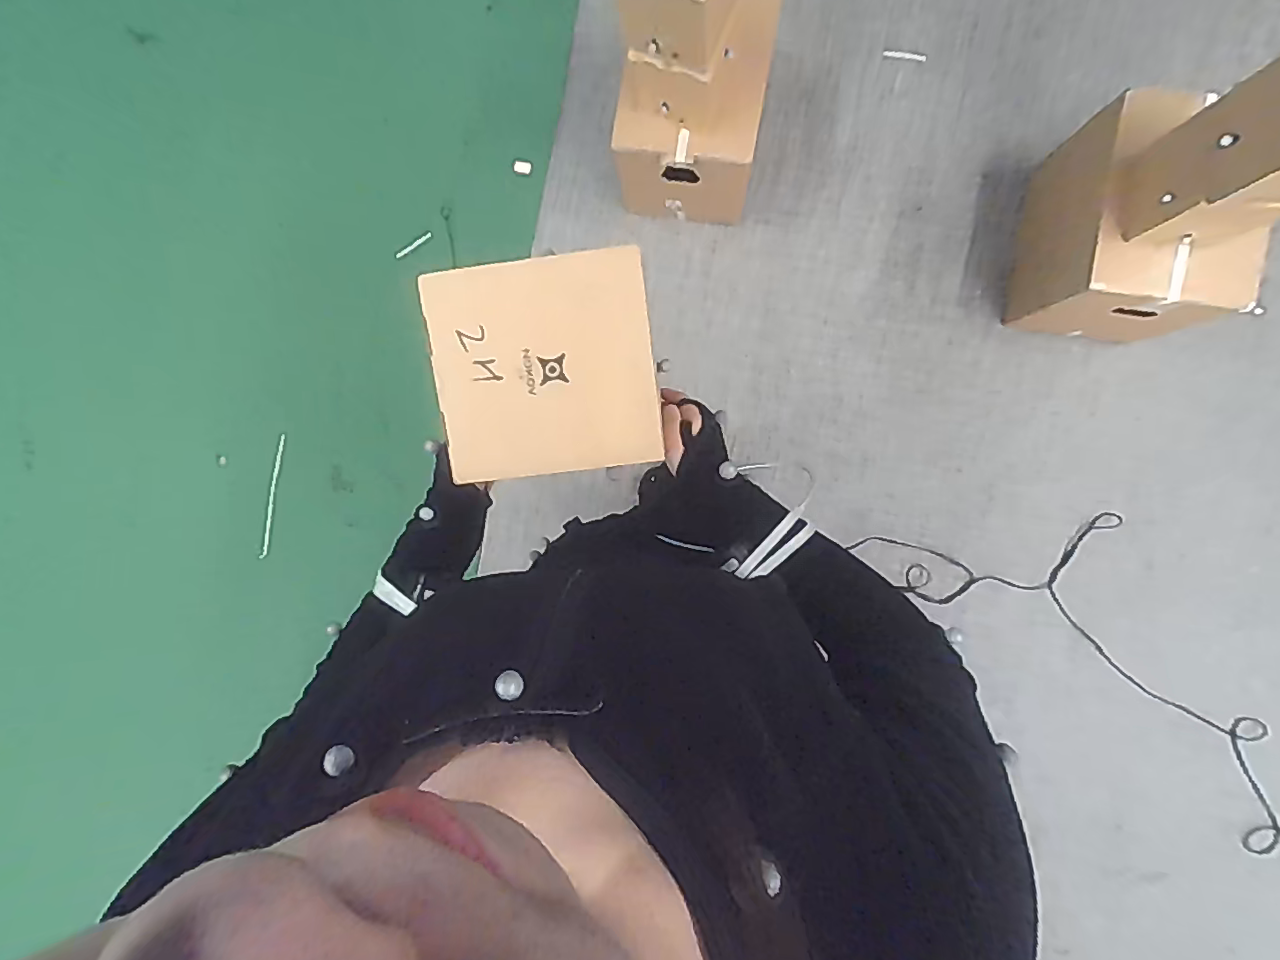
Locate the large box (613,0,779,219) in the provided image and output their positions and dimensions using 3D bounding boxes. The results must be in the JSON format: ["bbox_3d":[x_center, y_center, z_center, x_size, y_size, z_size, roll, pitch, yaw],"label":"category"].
[{"bbox_3d":[0.136,-0.902,1.299,0.320,0.320,0.408,10,93,5],"label":"large box"}]

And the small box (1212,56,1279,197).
[{"bbox_3d":[1.033,-0.547,0.818,0.168,0.176,0.179,1,93,7],"label":"small box"}]

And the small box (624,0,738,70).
[{"bbox_3d":[0.074,-0.845,0.899,0.168,0.176,0.179,24,96,6],"label":"small box"}]

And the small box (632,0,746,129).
[{"bbox_3d":[0.096,-0.842,1.060,0.168,0.176,0.179,21,95,6],"label":"small box"}]

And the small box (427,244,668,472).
[{"bbox_3d":[-0.069,-0.107,0.506,0.179,0.176,0.168,-6,99,4],"label":"small box"}]
